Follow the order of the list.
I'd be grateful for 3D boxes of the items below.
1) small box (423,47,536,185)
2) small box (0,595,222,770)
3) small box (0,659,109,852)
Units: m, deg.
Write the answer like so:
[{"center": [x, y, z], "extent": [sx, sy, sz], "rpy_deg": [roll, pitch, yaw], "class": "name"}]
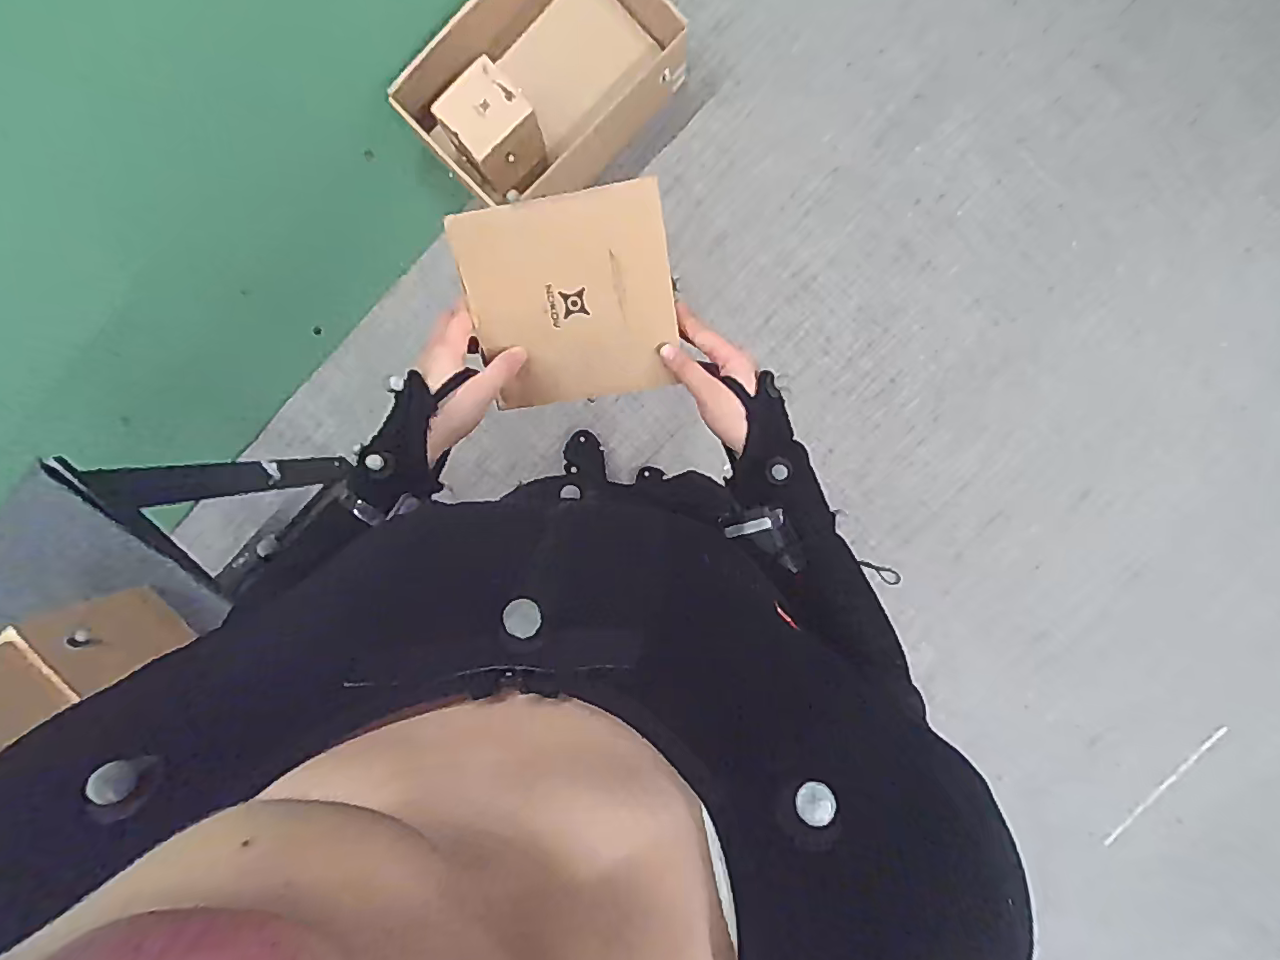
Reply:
[{"center": [-0.369, -0.850, 1.284], "extent": [0.179, 0.176, 0.168], "rpy_deg": [-43, 94, 3], "class": "small box"}, {"center": [-0.700, 0.266, 0.683], "extent": [0.168, 0.176, 0.179], "rpy_deg": [-41, 94, 5], "class": "small box"}, {"center": [-0.701, 0.301, 0.522], "extent": [0.168, 0.176, 0.179], "rpy_deg": [-42, 95, 5], "class": "small box"}]
